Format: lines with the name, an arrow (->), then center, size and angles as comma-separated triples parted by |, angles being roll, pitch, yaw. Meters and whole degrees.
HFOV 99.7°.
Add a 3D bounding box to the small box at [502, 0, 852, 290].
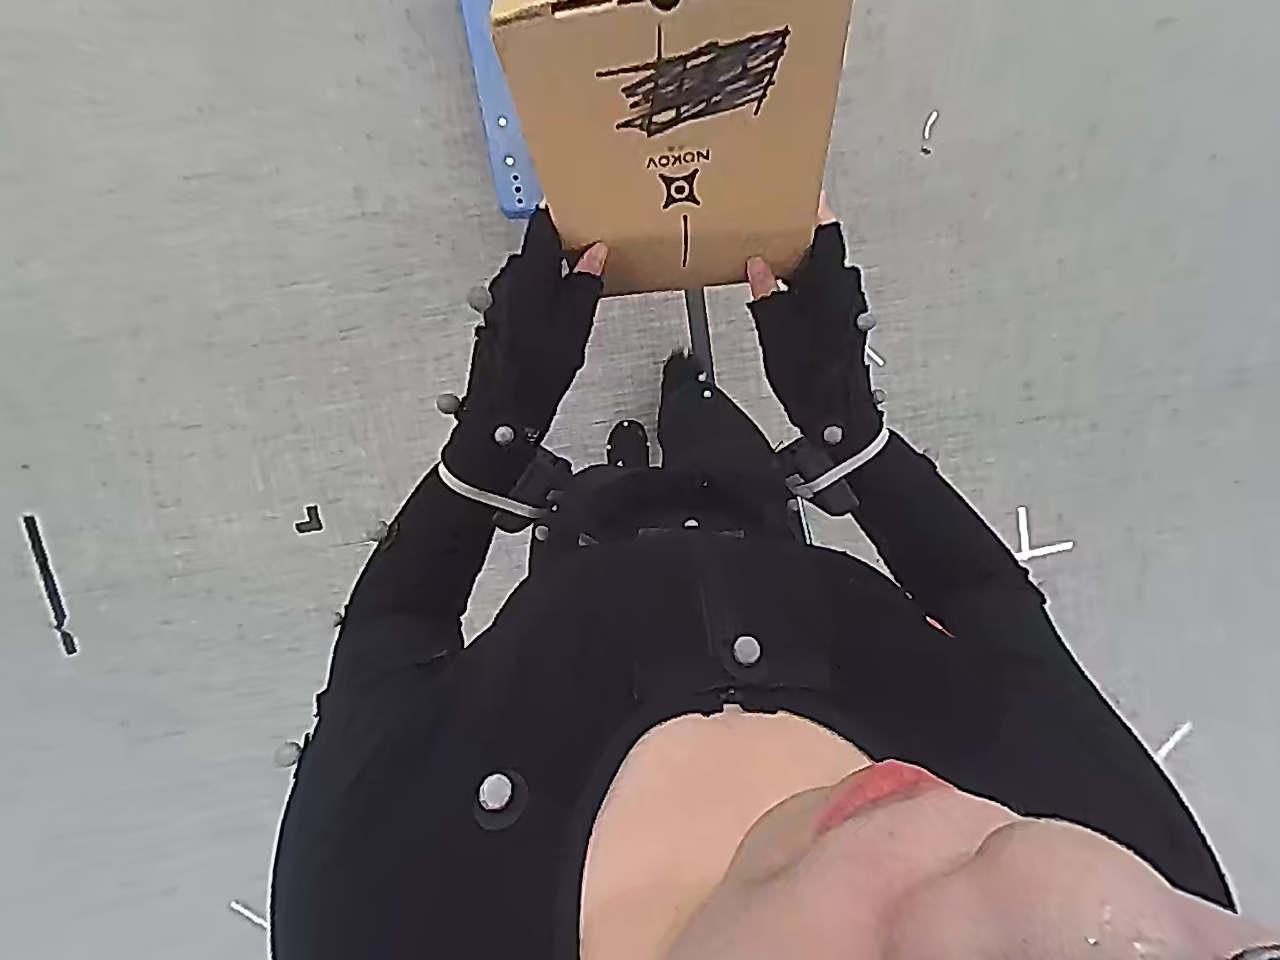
small box -> 0.025, -0.256, 0.349 | 0.168, 0.179, 0.176 | -3, 63, 7
